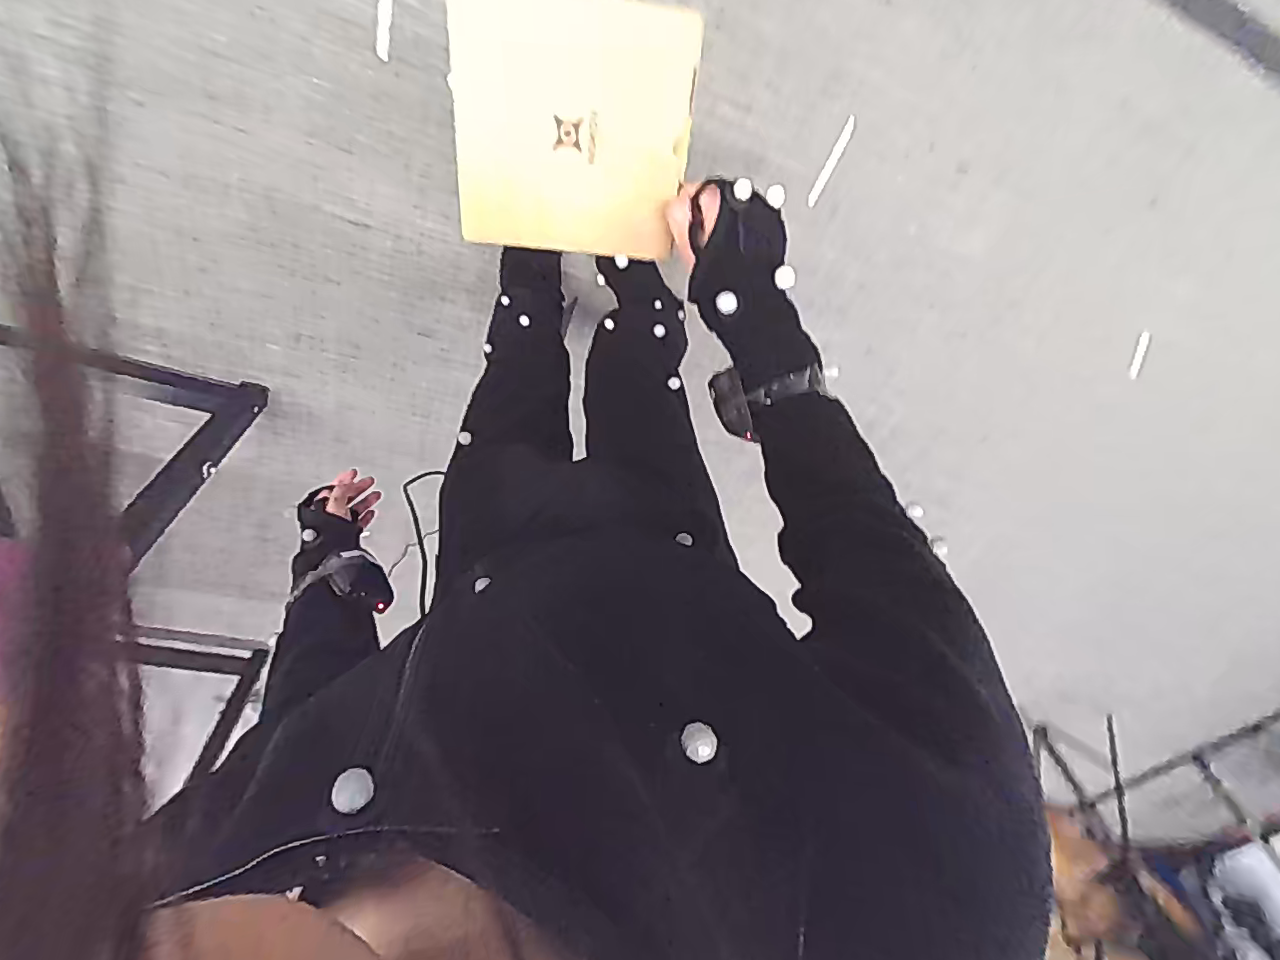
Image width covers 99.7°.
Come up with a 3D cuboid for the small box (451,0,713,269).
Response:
[{"bbox_3d":[-0.054,-0.293,0.466,0.179,0.176,0.168,1,125,-10],"label":"small box"}]
